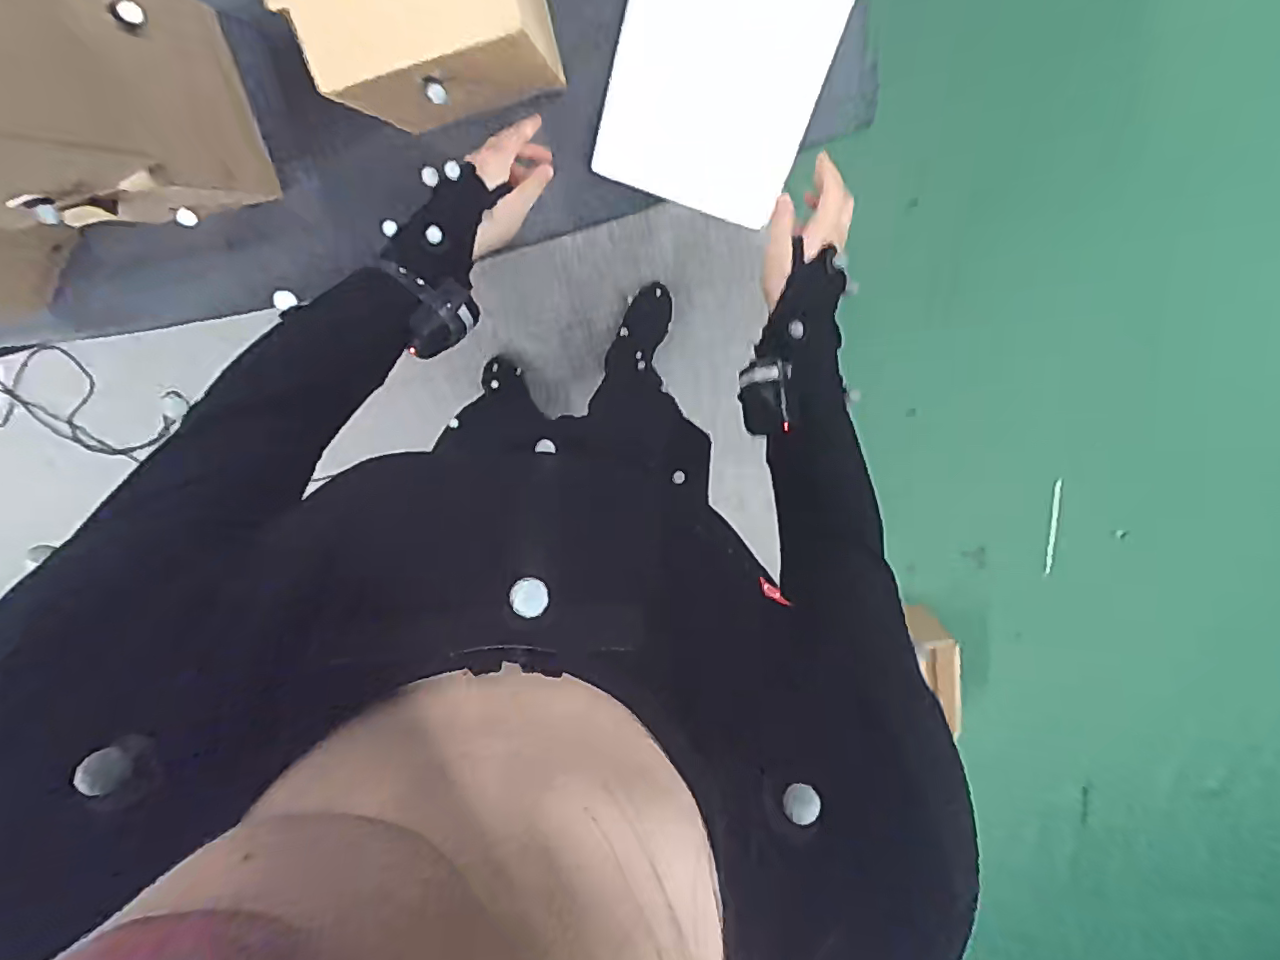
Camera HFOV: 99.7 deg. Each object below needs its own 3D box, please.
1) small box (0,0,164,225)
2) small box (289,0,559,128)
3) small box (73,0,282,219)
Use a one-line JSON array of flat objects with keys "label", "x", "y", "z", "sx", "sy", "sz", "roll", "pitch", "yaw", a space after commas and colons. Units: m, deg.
[{"label": "small box", "x": -0.504, "y": -0.290, "z": 0.368, "sx": 0.168, "sy": 0.176, "sz": 0.179, "roll": -17, "pitch": 113, "yaw": 13}, {"label": "small box", "x": -0.178, "y": -0.425, "z": 0.458, "sx": 0.179, "sy": 0.176, "sz": 0.168, "roll": -10, "pitch": 113, "yaw": 10}, {"label": "small box", "x": -0.497, "y": -0.358, "z": 0.515, "sx": 0.168, "sy": 0.176, "sz": 0.179, "roll": -6, "pitch": 114, "yaw": 8}]
